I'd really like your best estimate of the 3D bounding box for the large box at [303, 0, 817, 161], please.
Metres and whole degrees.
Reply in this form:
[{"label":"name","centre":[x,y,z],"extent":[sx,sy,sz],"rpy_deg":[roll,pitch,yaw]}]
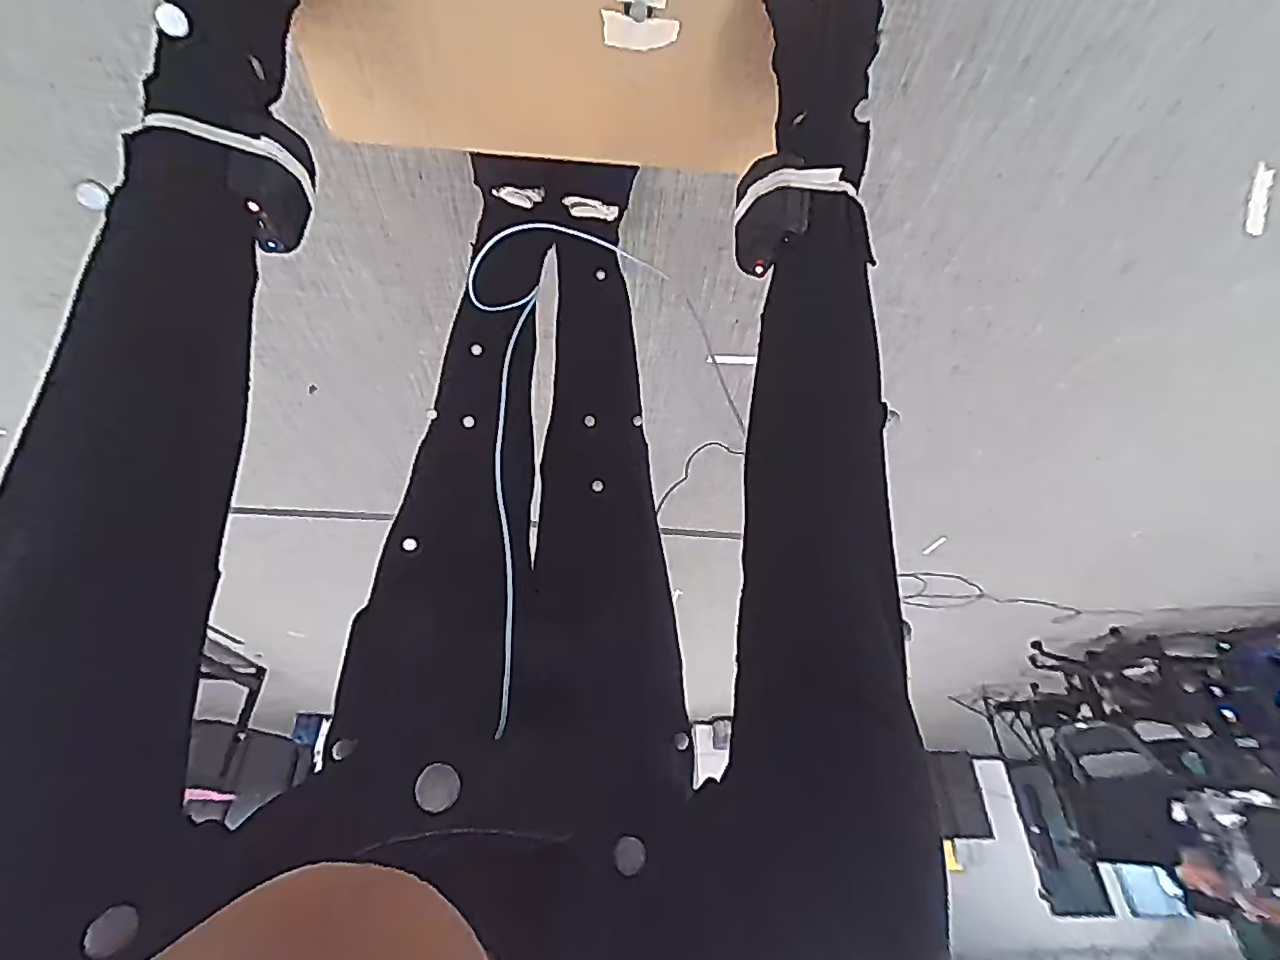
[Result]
[{"label":"large box","centre":[-0.059,-0.517,0.468],"extent":[0.408,0.320,0.320],"rpy_deg":[3,144,-3]}]
